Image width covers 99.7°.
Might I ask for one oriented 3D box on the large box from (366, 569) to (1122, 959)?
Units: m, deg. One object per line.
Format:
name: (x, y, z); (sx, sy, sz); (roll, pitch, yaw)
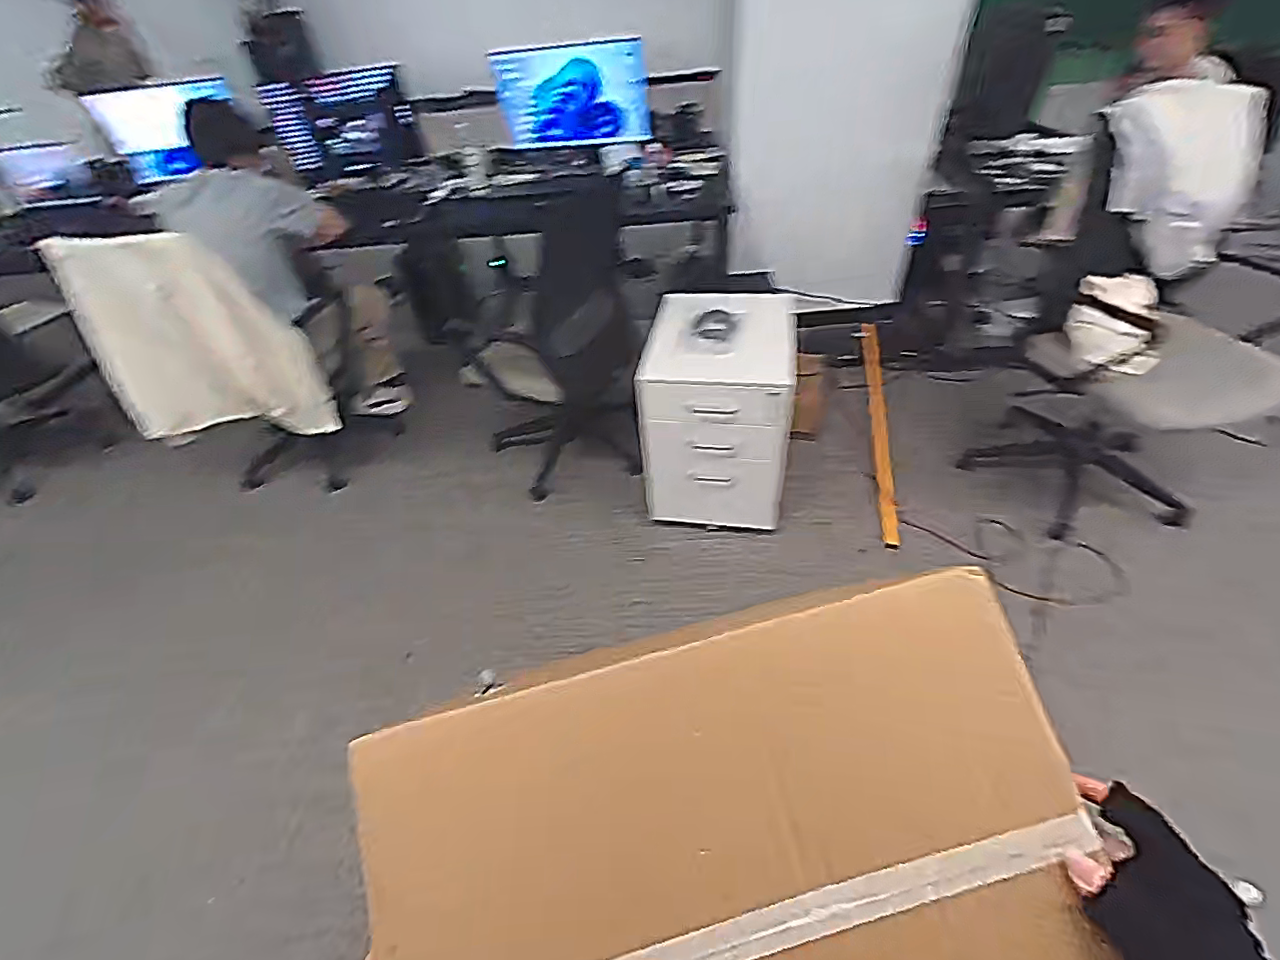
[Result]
large box: (0.061, 0.292, 0.454); (0.408, 0.320, 0.320); (-16, 77, -3)
